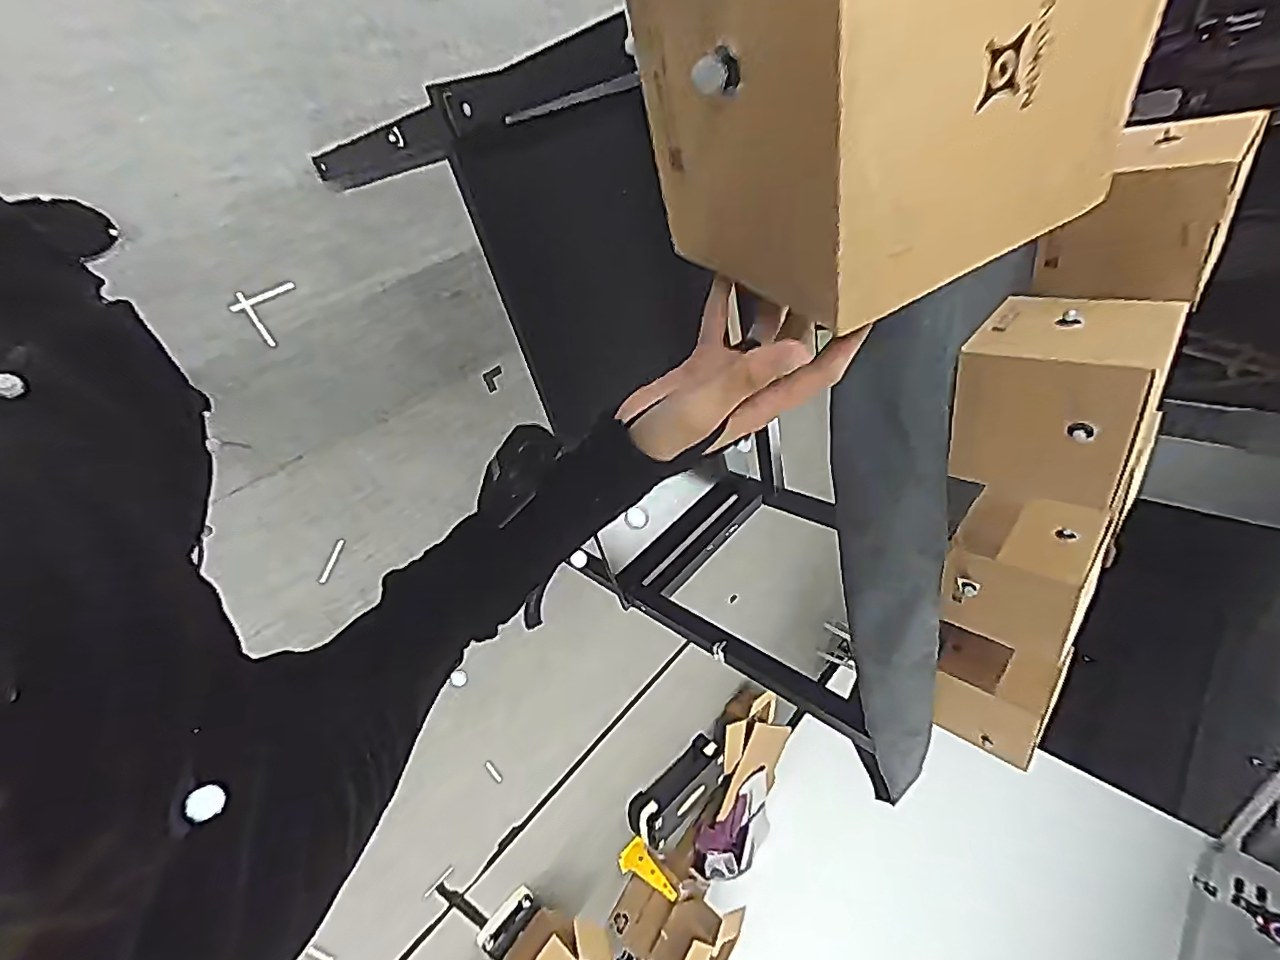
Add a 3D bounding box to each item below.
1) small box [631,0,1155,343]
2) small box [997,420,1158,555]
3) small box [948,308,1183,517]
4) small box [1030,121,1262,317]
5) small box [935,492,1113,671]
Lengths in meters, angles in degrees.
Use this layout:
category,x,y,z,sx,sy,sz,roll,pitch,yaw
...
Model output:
category,x,y,z,sx,sy,sz,roll,pitch,yaw
small box,0.110,-0.201,0.277,0.179,0.176,0.168,-29,133,-11
small box,0.731,-0.010,0.923,0.168,0.176,0.179,-40,132,-29
small box,0.481,-0.090,0.630,0.168,0.176,0.179,-38,130,-30
small box,0.626,-0.324,0.686,0.179,0.176,0.168,-42,132,-27
small box,0.574,0.142,0.822,0.179,0.176,0.168,-38,129,-30
